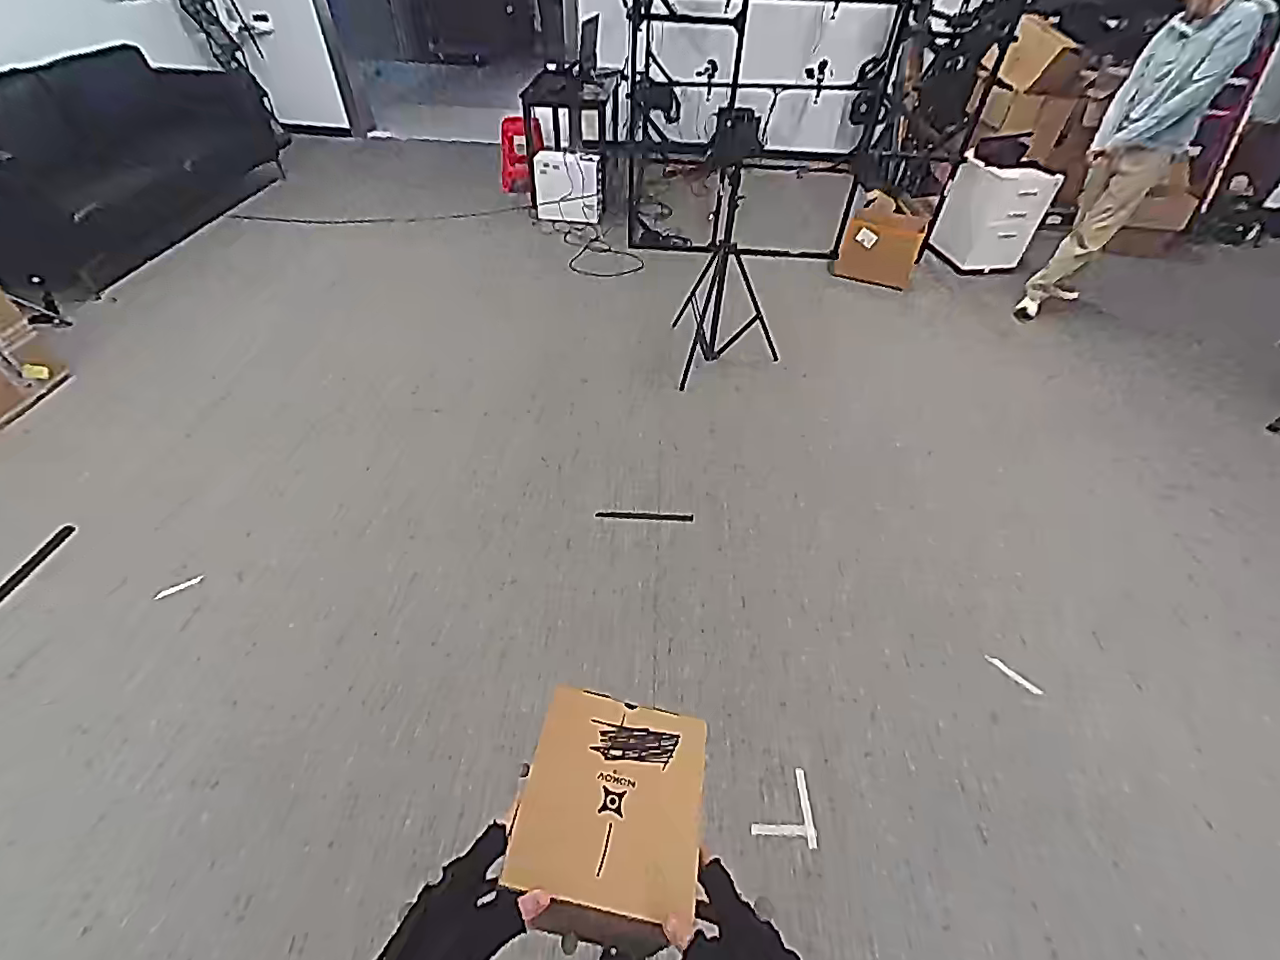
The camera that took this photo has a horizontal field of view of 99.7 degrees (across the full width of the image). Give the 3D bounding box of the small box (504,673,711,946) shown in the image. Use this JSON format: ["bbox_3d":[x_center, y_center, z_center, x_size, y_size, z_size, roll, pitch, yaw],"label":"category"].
[{"bbox_3d":[-0.034,0.331,0.545,0.168,0.176,0.179,14,42,0],"label":"small box"}]
